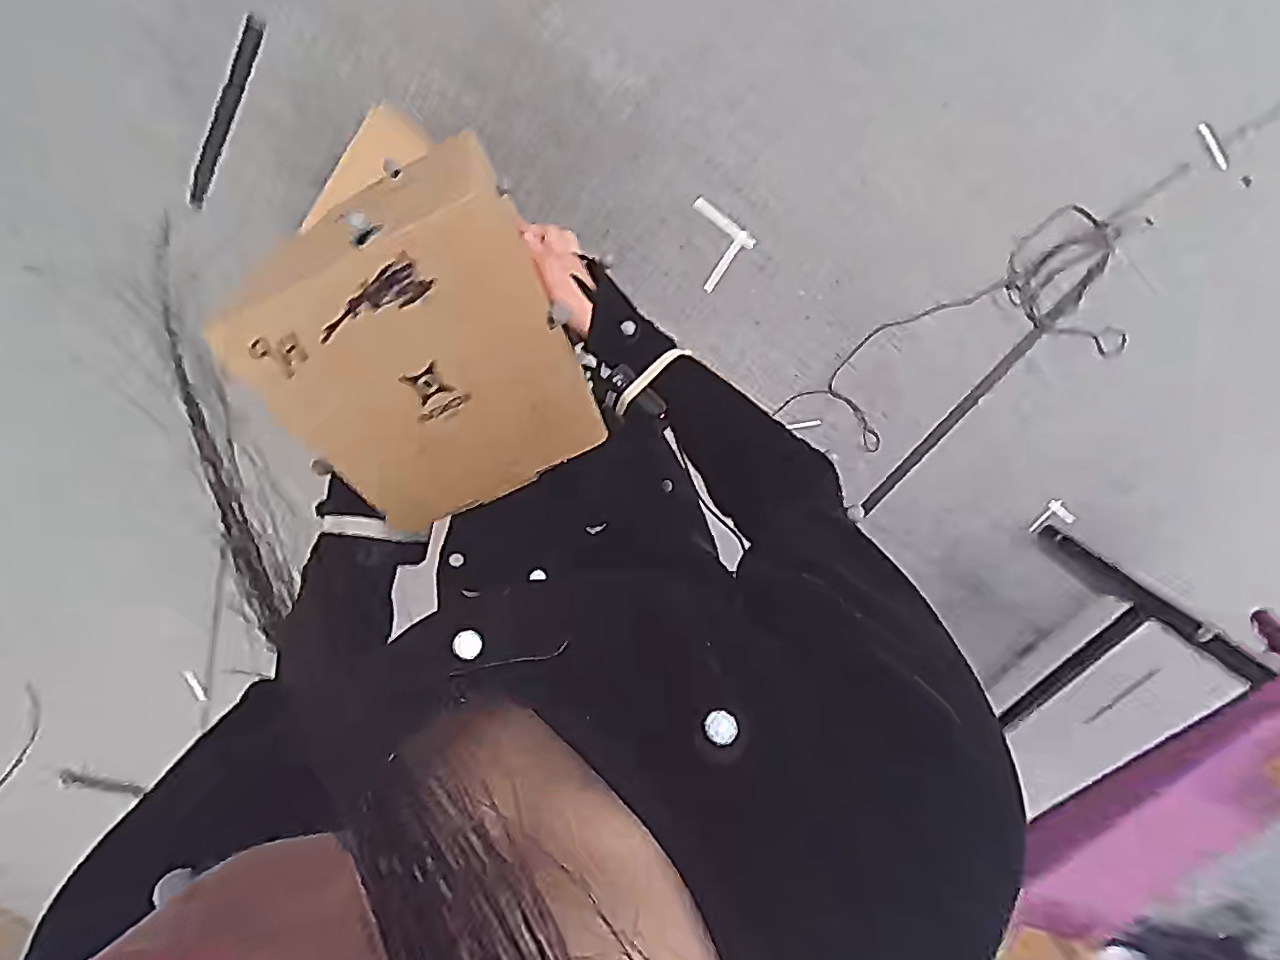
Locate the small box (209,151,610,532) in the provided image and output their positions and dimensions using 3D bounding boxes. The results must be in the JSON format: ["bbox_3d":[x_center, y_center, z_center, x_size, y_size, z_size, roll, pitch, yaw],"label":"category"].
[{"bbox_3d":[-0.139,-0.101,0.389,0.168,0.176,0.179,-25,132,3],"label":"small box"}]

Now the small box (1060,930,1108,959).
[{"bbox_3d":[1.341,1.515,1.642,0.168,0.176,0.179,31,108,-22],"label":"small box"}]

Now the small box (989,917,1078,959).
[{"bbox_3d":[1.162,1.409,1.561,0.179,0.176,0.168,35,105,-25],"label":"small box"}]
